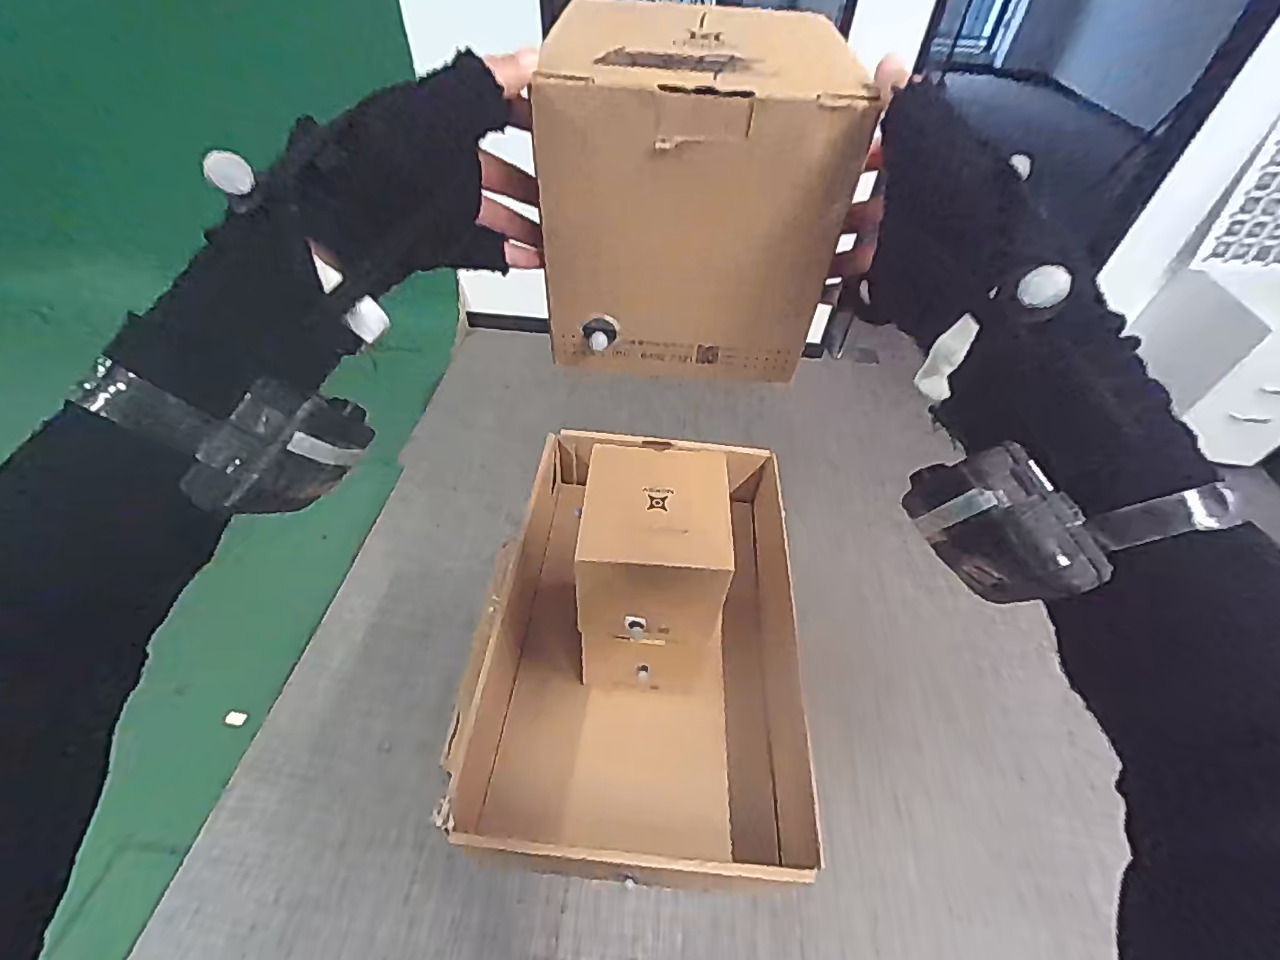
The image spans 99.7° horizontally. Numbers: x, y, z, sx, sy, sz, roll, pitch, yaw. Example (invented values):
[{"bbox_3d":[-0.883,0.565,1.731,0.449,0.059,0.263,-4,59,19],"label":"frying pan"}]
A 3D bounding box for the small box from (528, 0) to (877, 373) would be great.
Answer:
[{"bbox_3d":[0.031,-0.191,0.362,0.168,0.176,0.179,5,50,0],"label":"small box"}]

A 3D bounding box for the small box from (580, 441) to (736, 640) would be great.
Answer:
[{"bbox_3d":[0.018,0.076,0.670,0.168,0.176,0.179,3,48,0],"label":"small box"}]
